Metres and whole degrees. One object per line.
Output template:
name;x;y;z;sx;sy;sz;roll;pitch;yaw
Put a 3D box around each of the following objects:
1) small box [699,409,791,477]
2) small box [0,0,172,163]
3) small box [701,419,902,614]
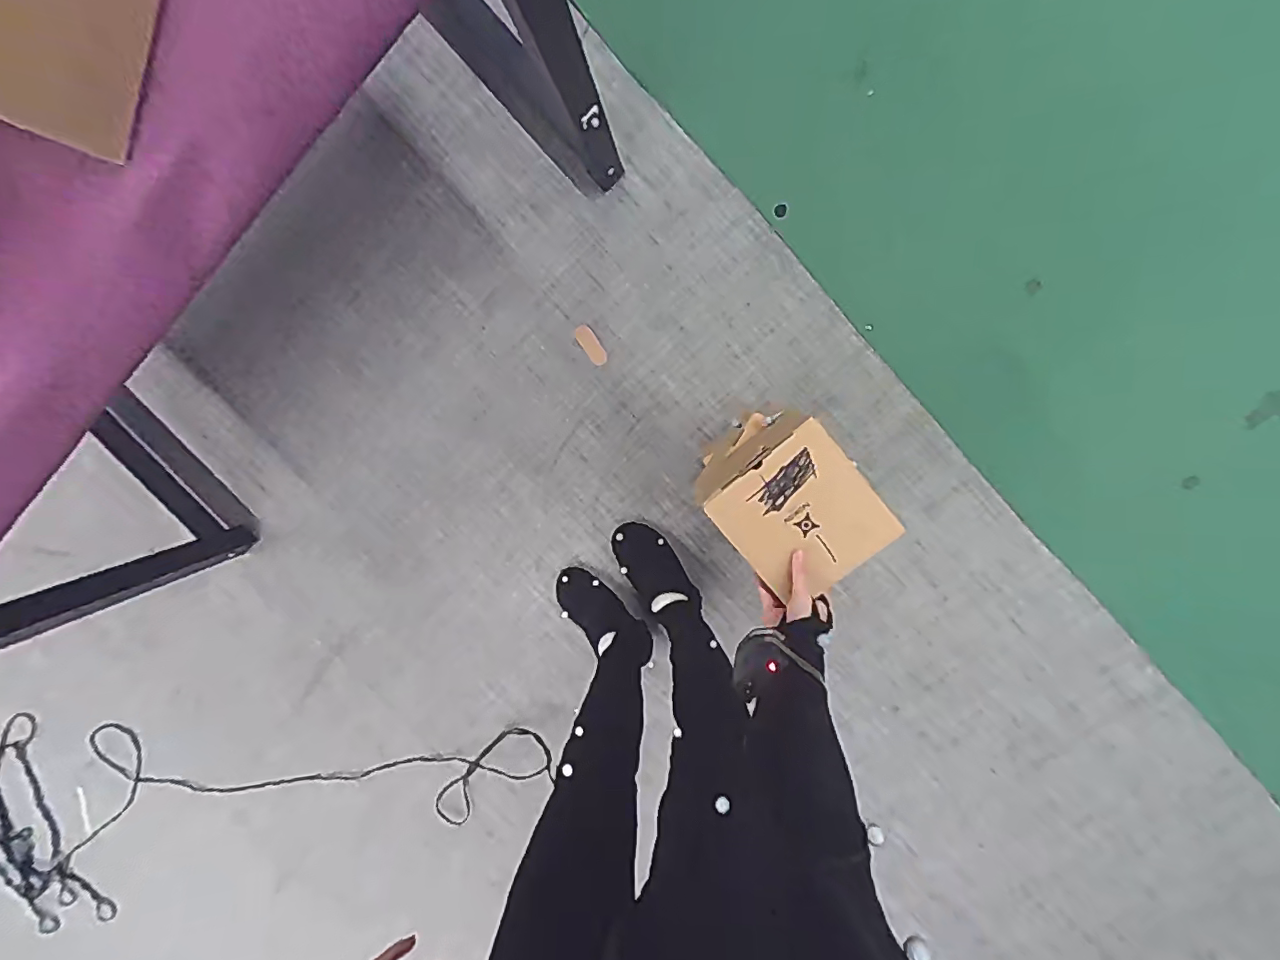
small box;0.228;-0.021;1.031;0.179;0.176;0.168;-31;97;11
small box;-0.405;-0.318;0.291;0.168;0.176;0.179;26;101;3
small box;0.193;0.035;0.706;0.168;0.176;0.179;-39;96;10
